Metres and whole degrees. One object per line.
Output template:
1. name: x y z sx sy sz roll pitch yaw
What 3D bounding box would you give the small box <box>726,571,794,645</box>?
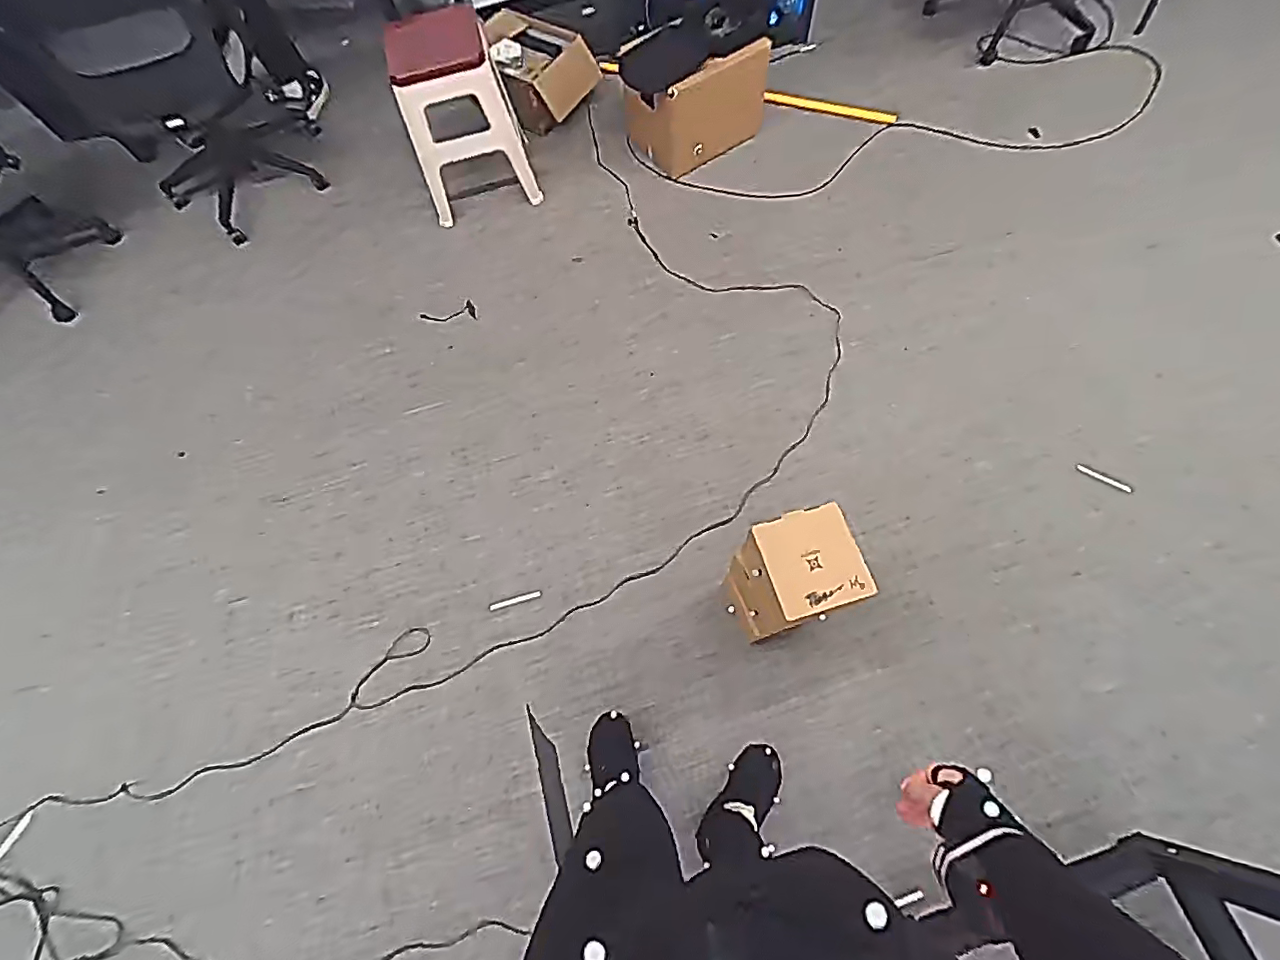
1. small box: 0.321 0.289 1.316 0.179 0.176 0.168 -20 67 -3

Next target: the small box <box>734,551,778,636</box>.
1. small box: 0.316 0.222 1.168 0.179 0.176 0.168 -23 69 -7

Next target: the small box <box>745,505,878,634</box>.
1. small box: 0.306 0.173 1.012 0.168 0.176 0.179 -17 67 -3
